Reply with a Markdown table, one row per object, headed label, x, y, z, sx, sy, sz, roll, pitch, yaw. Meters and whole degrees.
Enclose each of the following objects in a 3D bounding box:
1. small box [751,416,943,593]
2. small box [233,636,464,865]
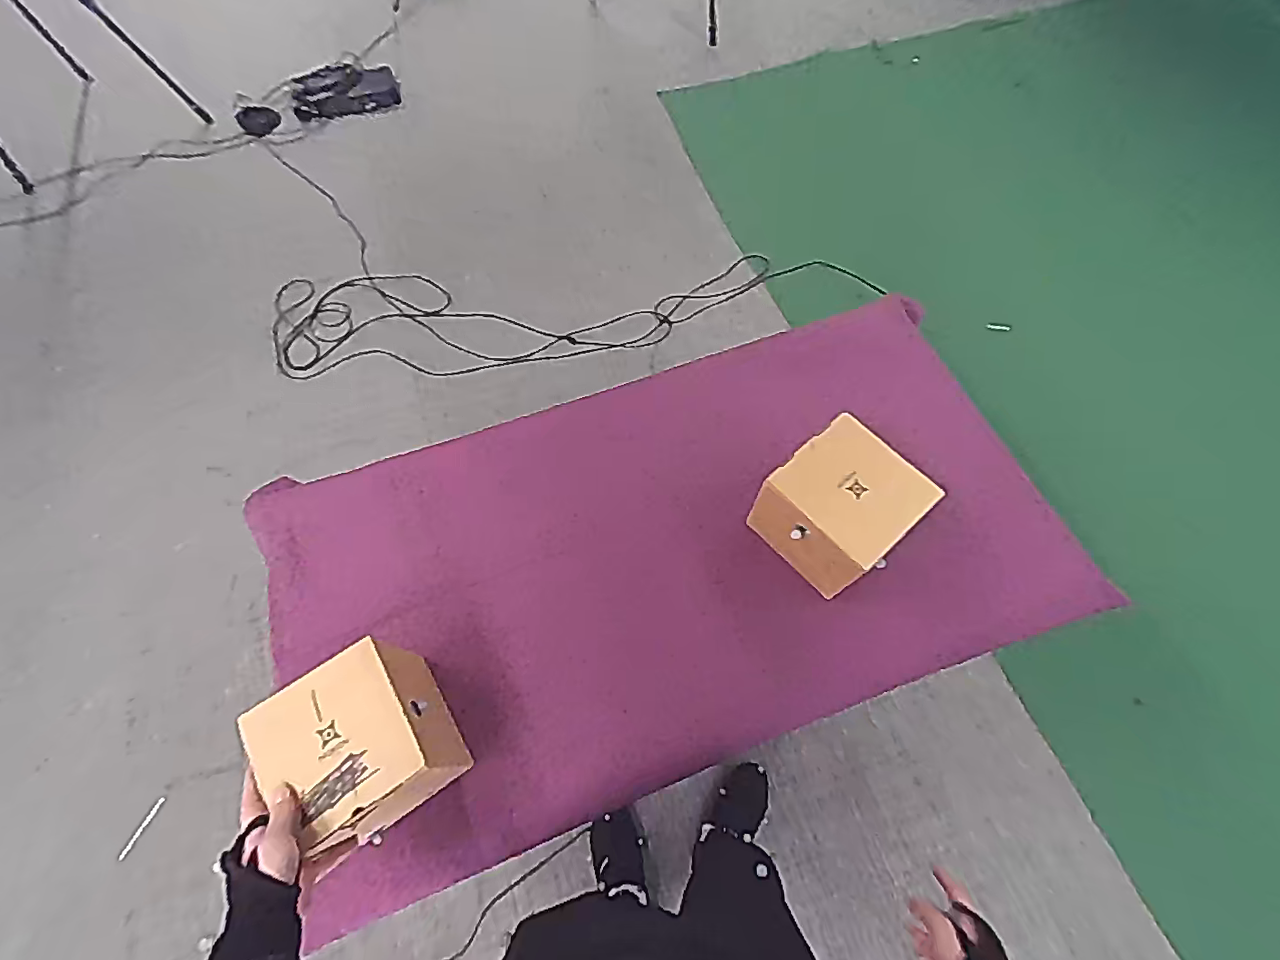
| label | x | y | z | sx | sy | sz | roll | pitch | yaw |
| --- | --- | --- | --- | --- | --- | --- | --- | --- | --- |
| small box | 0.288 | 0.047 | 0.794 | 0.168 | 0.176 | 0.179 | -39 | 69 | -15 |
| small box | -0.346 | 0.324 | 0.671 | 0.168 | 0.176 | 0.179 | -32 | 66 | -14 |
